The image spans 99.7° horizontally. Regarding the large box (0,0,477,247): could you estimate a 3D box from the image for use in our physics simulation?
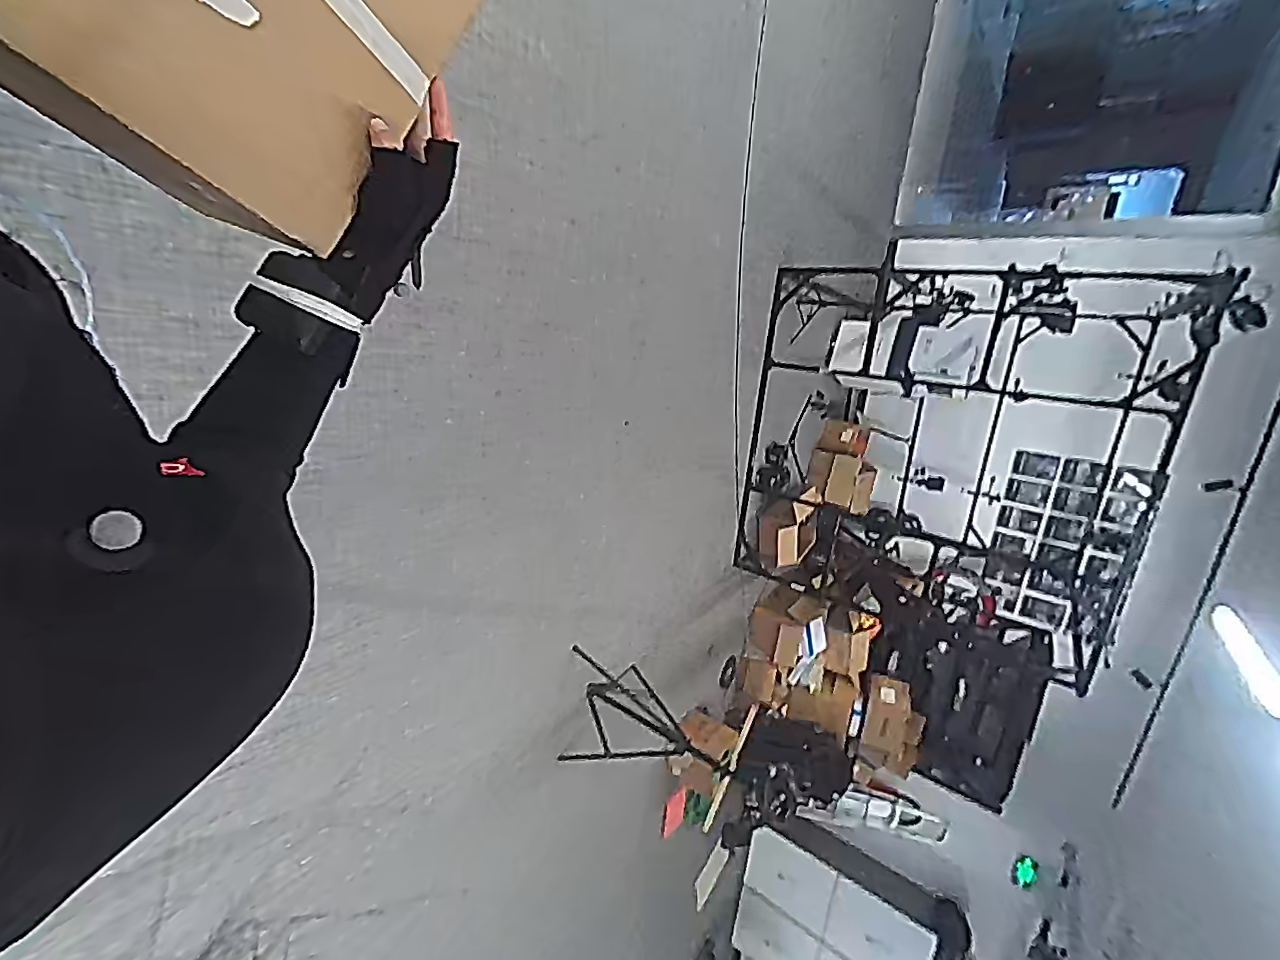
[{"bbox_3d":[-0.386,-0.435,0.364,0.320,0.320,0.408,-60,147,-3],"label":"large box"}]
